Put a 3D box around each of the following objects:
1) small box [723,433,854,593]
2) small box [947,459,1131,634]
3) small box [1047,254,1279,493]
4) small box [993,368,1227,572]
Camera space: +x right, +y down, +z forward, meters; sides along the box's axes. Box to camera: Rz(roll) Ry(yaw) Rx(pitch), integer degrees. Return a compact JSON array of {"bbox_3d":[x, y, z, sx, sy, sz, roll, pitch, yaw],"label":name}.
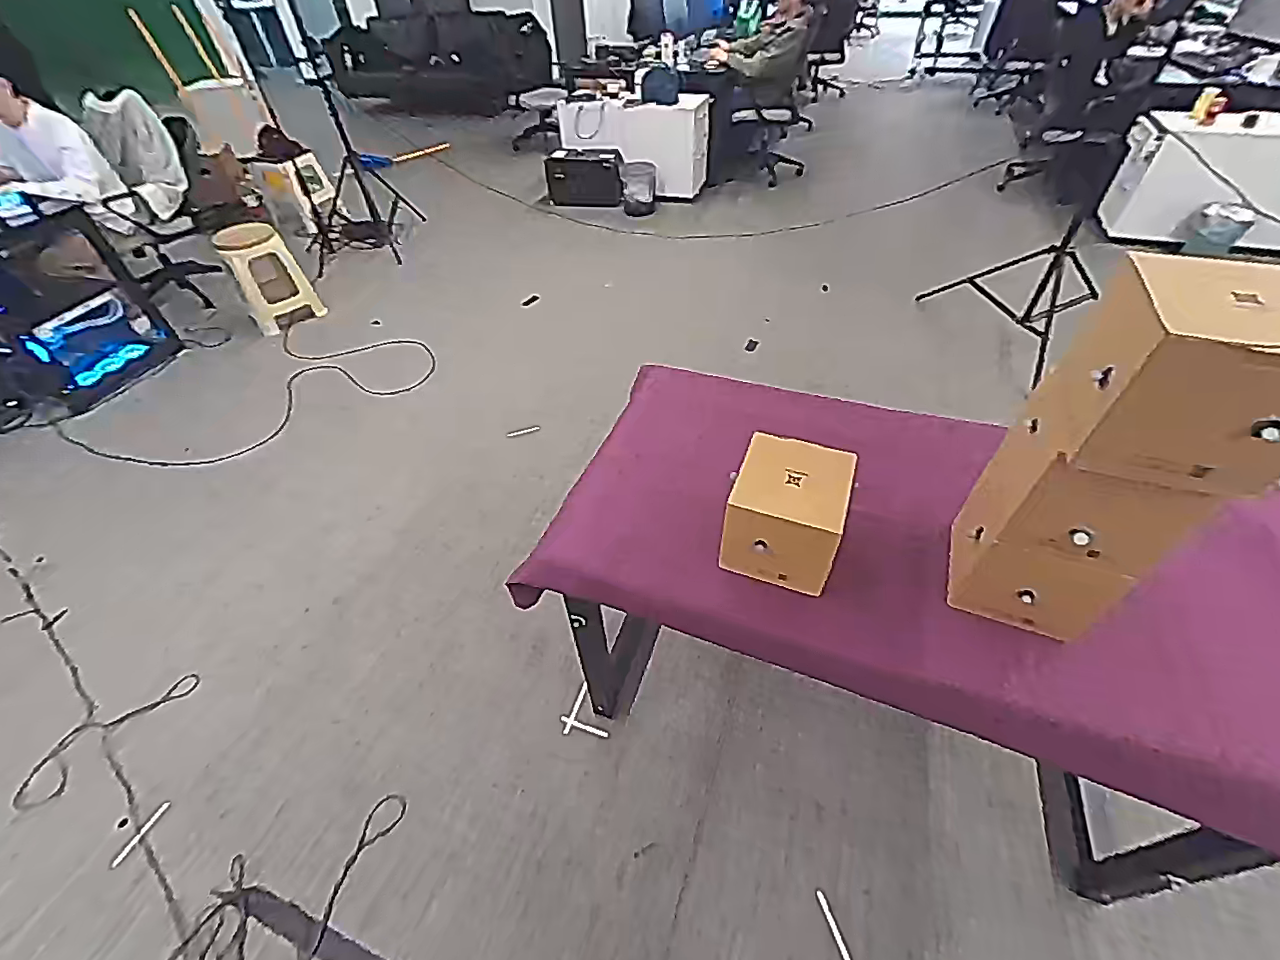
[{"bbox_3d":[0.236,0.055,0.879,0.168,0.176,0.179,14,47,16],"label":"small box"},{"bbox_3d":[0.582,0.102,0.813,0.168,0.176,0.179,16,49,17],"label":"small box"},{"bbox_3d":[0.567,-0.112,0.566,0.168,0.176,0.179,14,48,15],"label":"small box"},{"bbox_3d":[0.580,-0.014,0.697,0.168,0.176,0.179,16,49,18],"label":"small box"}]
